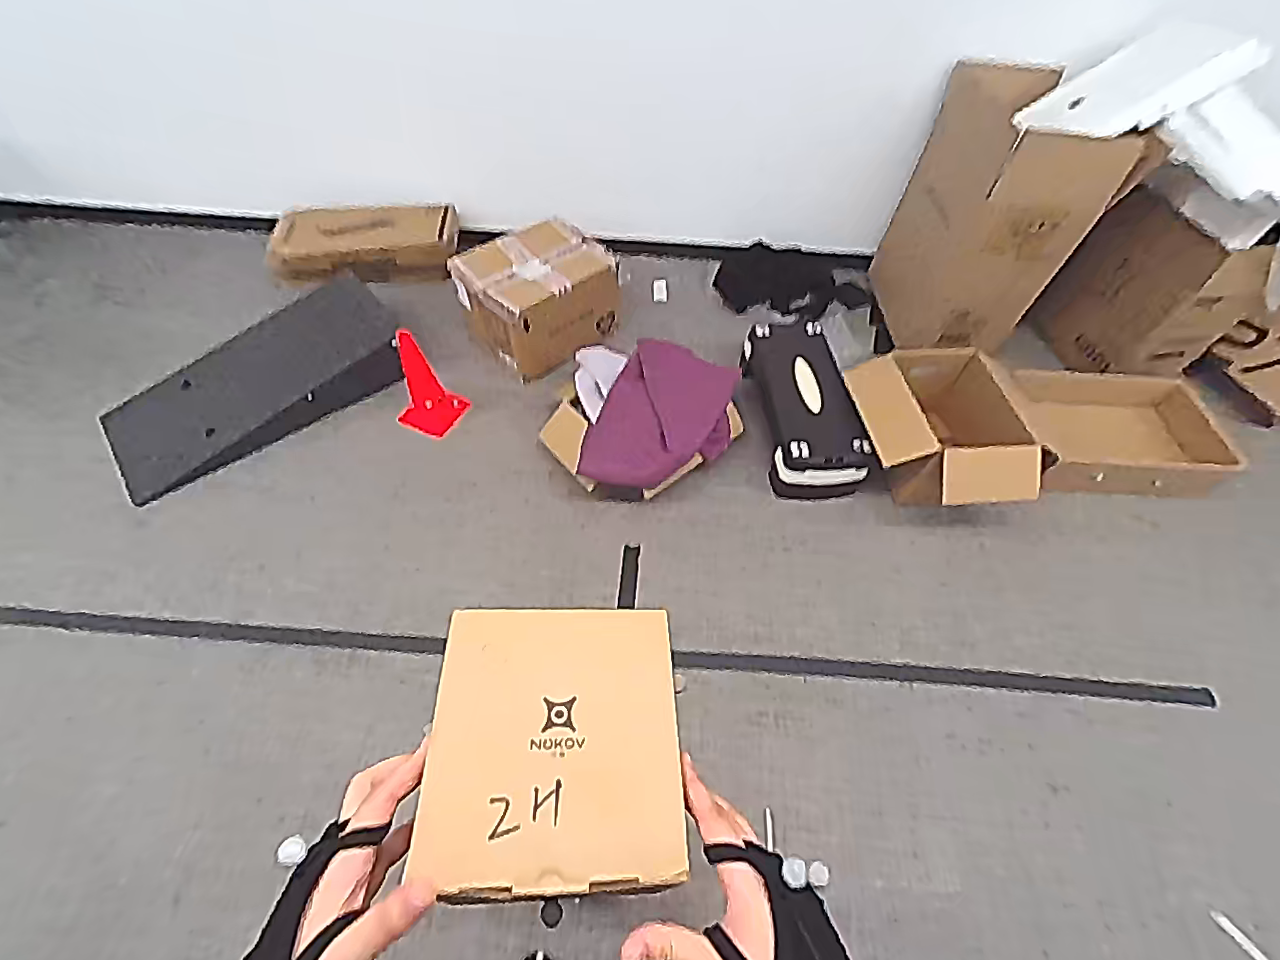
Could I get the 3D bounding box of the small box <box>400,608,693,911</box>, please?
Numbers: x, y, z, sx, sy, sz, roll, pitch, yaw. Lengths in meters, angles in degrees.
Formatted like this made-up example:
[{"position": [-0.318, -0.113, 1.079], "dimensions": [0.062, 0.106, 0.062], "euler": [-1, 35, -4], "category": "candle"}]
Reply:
[{"position": [-0.062, 0.213, 0.413], "dimensions": [0.168, 0.176, 0.179], "euler": [1, 52, -6], "category": "small box"}]
